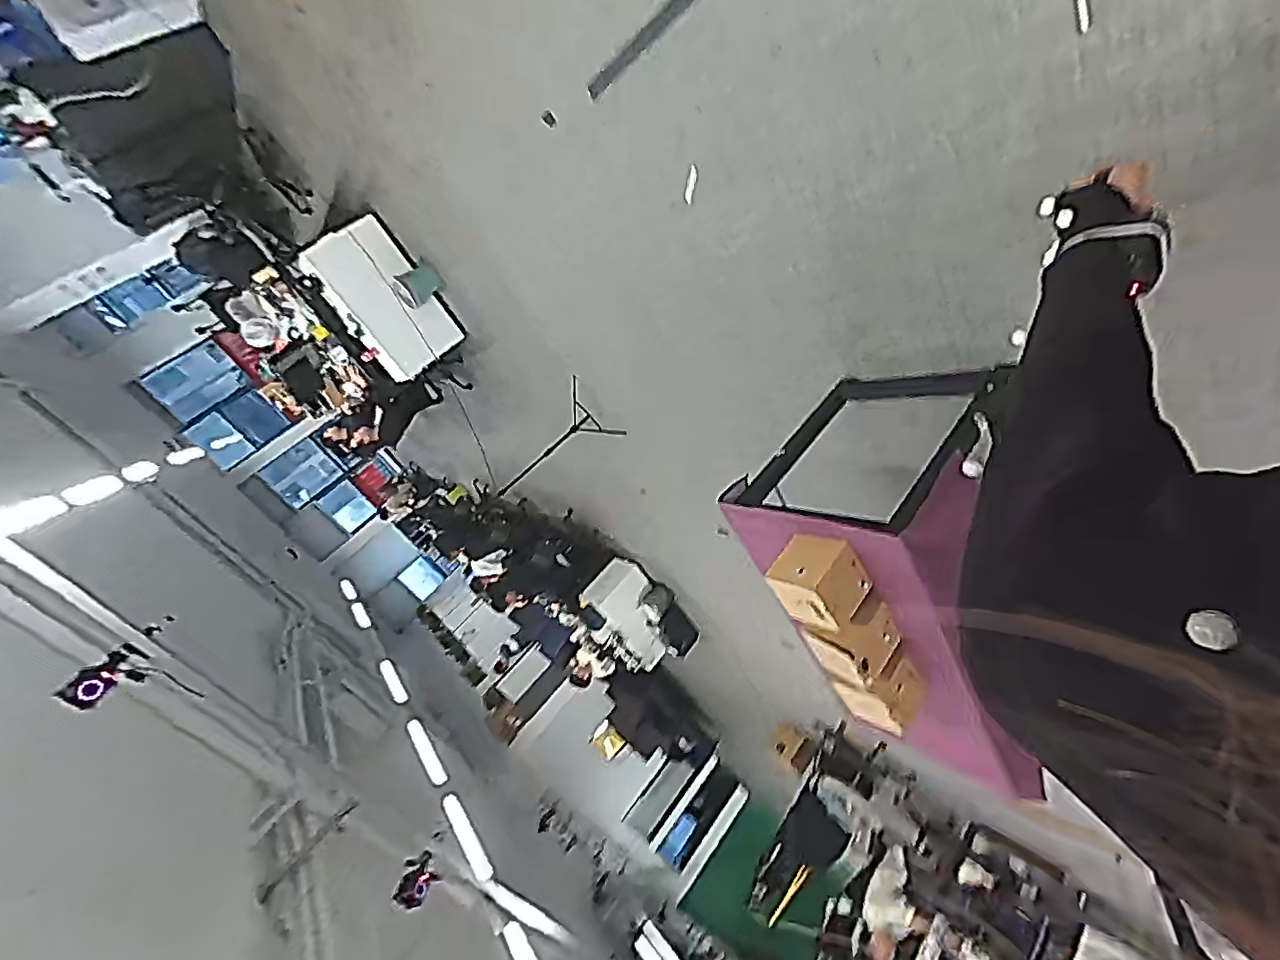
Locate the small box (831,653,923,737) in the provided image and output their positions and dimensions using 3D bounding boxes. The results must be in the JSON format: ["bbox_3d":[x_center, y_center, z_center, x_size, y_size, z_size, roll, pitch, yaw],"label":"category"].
[{"bbox_3d":[0.719,0.624,1.624,0.168,0.176,0.179,53,157,-17],"label":"small box"}]

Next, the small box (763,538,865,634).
[{"bbox_3d":[0.470,0.274,1.439,0.168,0.176,0.179,54,157,-21],"label":"small box"}]

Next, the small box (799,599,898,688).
[{"bbox_3d":[0.589,0.439,1.522,0.179,0.176,0.168,10,140,54],"label":"small box"}]
